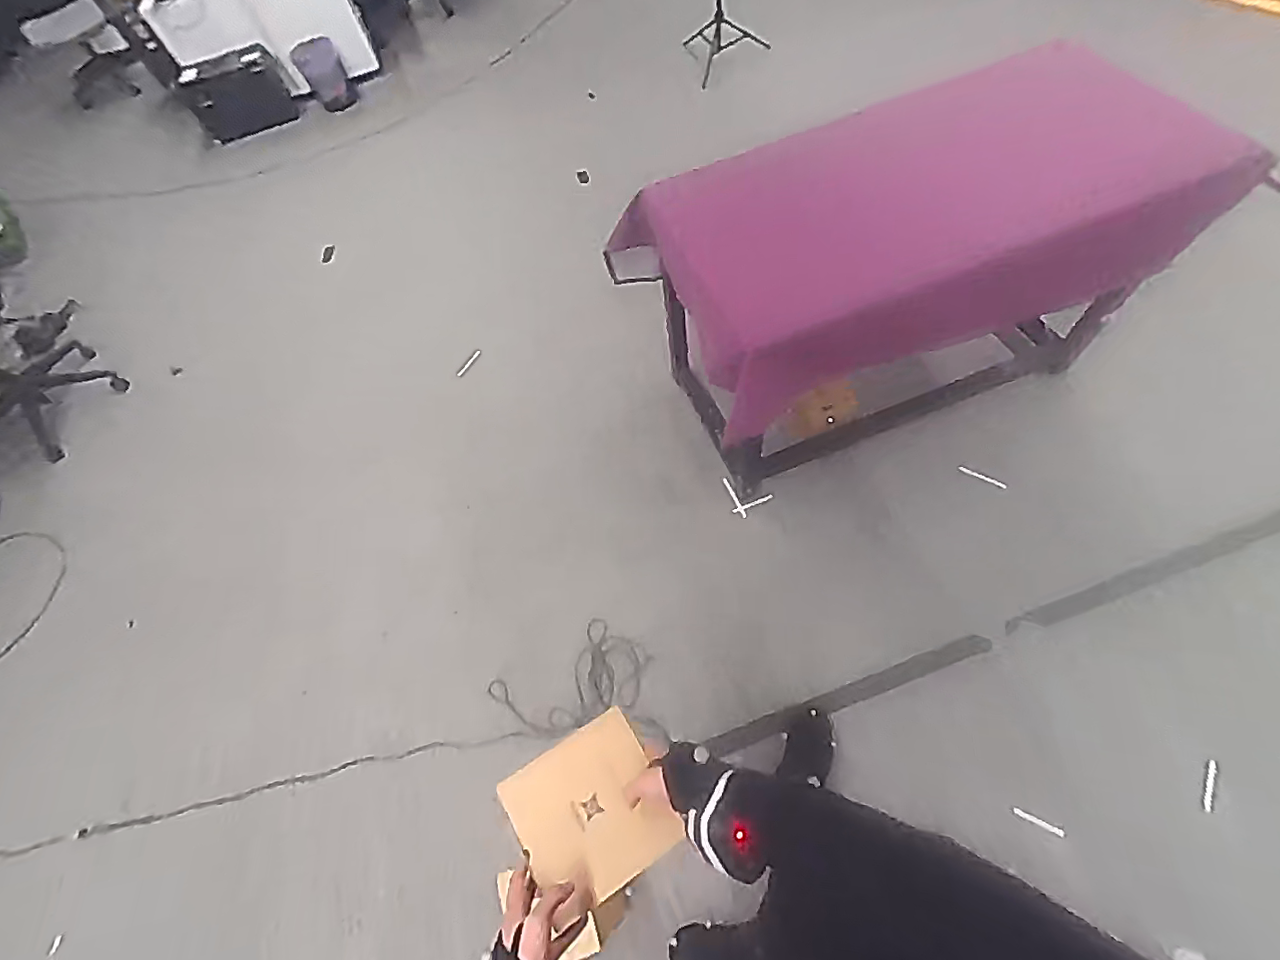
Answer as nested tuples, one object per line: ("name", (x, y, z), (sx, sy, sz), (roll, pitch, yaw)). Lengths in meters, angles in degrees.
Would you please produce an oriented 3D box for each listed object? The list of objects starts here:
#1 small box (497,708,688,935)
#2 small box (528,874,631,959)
("small box", (-0.050, 0.424, 0.692), (0.179, 0.176, 0.168), (-30, 61, -11))
("small box", (-0.131, 0.934, 1.222), (0.168, 0.176, 0.179), (-23, 61, -3))
